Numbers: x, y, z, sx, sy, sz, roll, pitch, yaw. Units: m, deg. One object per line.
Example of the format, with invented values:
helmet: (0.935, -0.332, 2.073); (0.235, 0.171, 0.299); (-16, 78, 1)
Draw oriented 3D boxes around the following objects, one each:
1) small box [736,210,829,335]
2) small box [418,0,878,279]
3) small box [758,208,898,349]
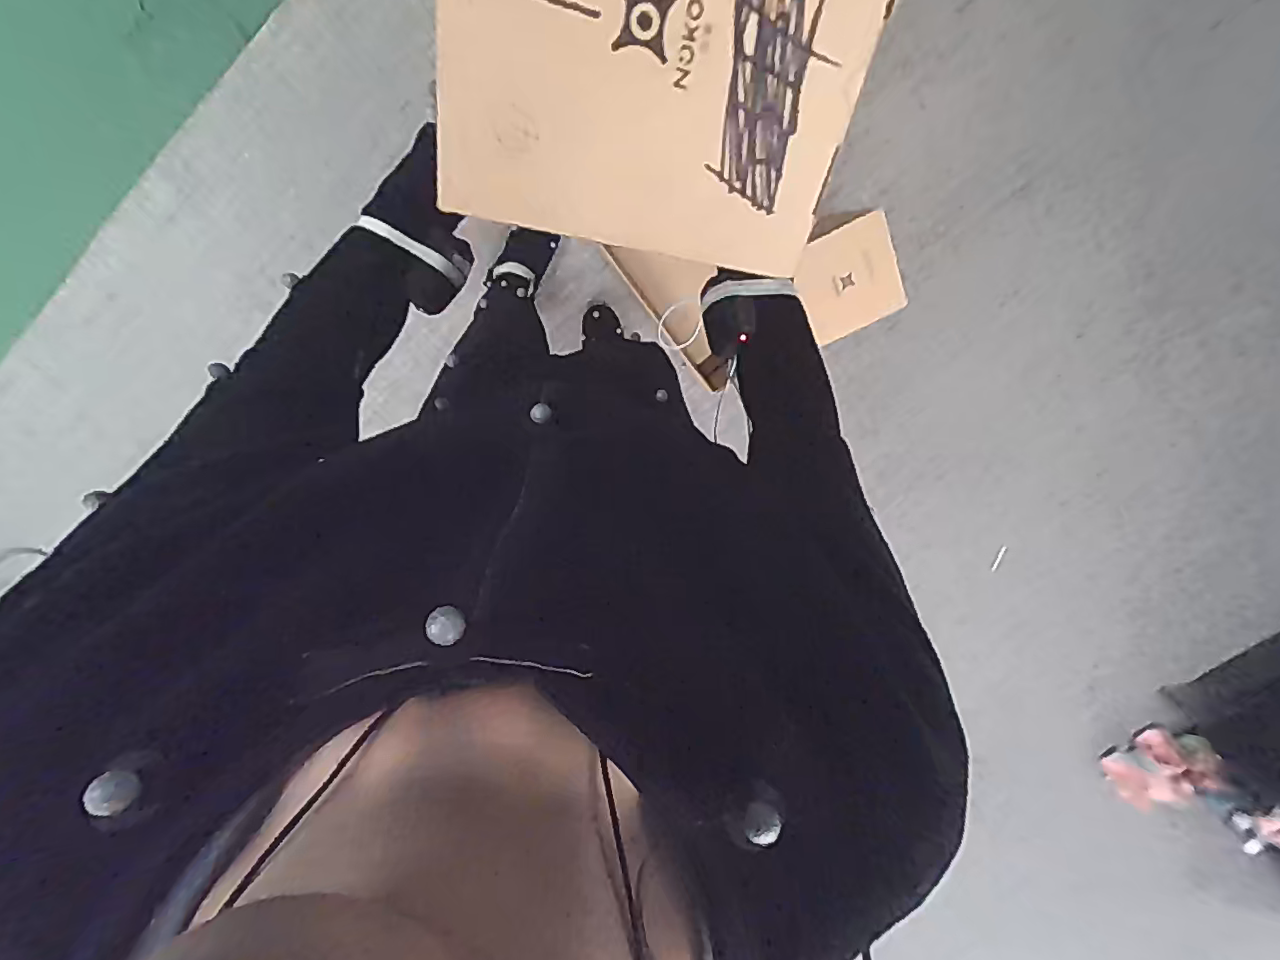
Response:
small box: (0.299, -0.416, 1.091); (0.168, 0.176, 0.179); (-26, 113, 8)
small box: (-0.003, -0.224, 0.276); (0.179, 0.176, 0.168); (8, 125, -10)
small box: (0.312, -0.350, 0.942); (0.179, 0.176, 0.168); (-24, 114, 6)
